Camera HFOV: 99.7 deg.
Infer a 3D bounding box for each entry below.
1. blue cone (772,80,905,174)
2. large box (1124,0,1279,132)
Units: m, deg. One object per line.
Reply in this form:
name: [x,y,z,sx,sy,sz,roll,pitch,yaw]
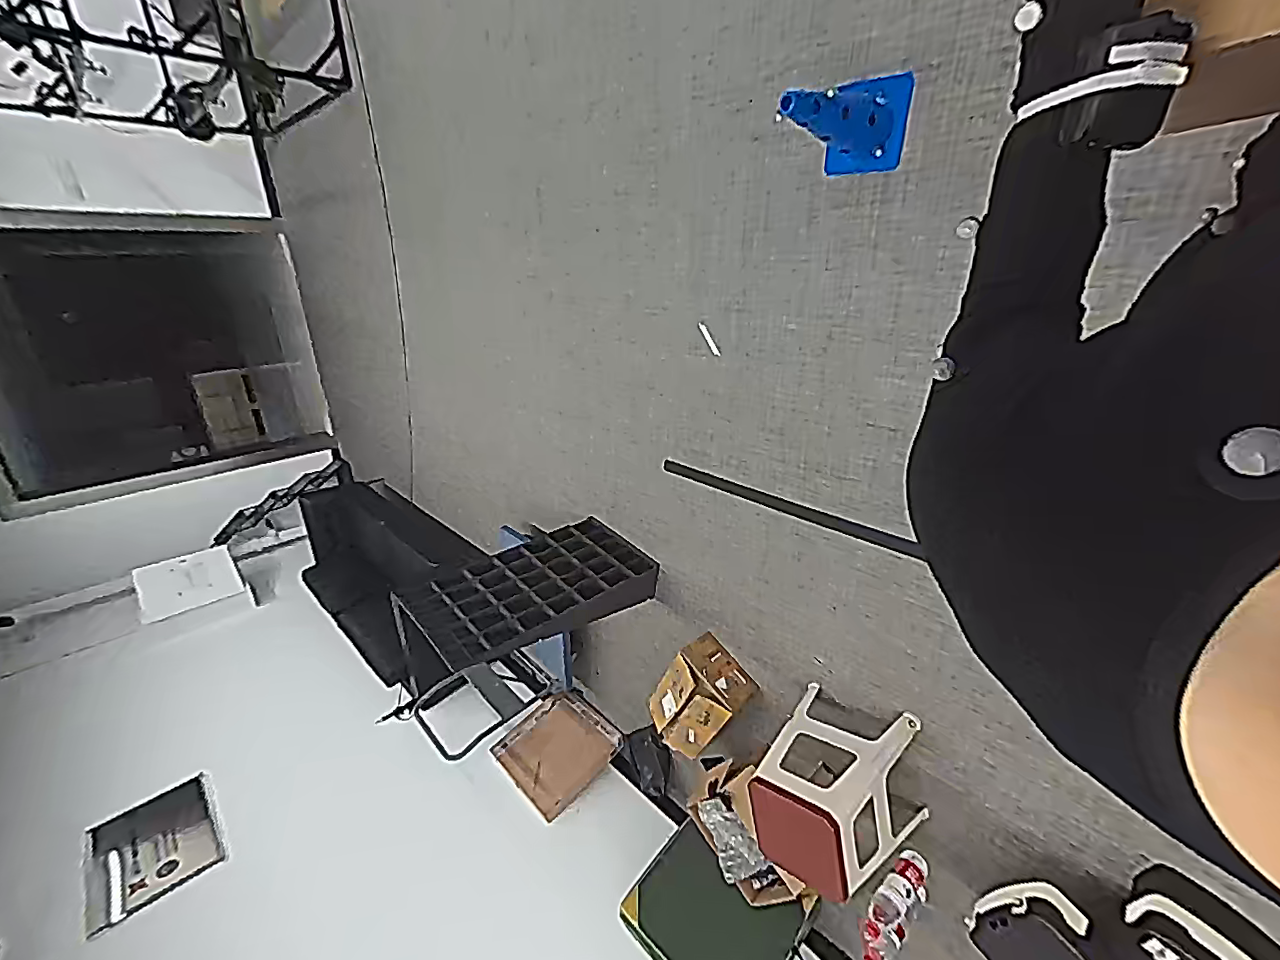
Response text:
blue cone: [0.434,-0.829,1.242,0.192,0.380,0.193,26,124,41]
large box: [0.555,-0.438,0.287,0.408,0.320,0.320,12,115,43]
